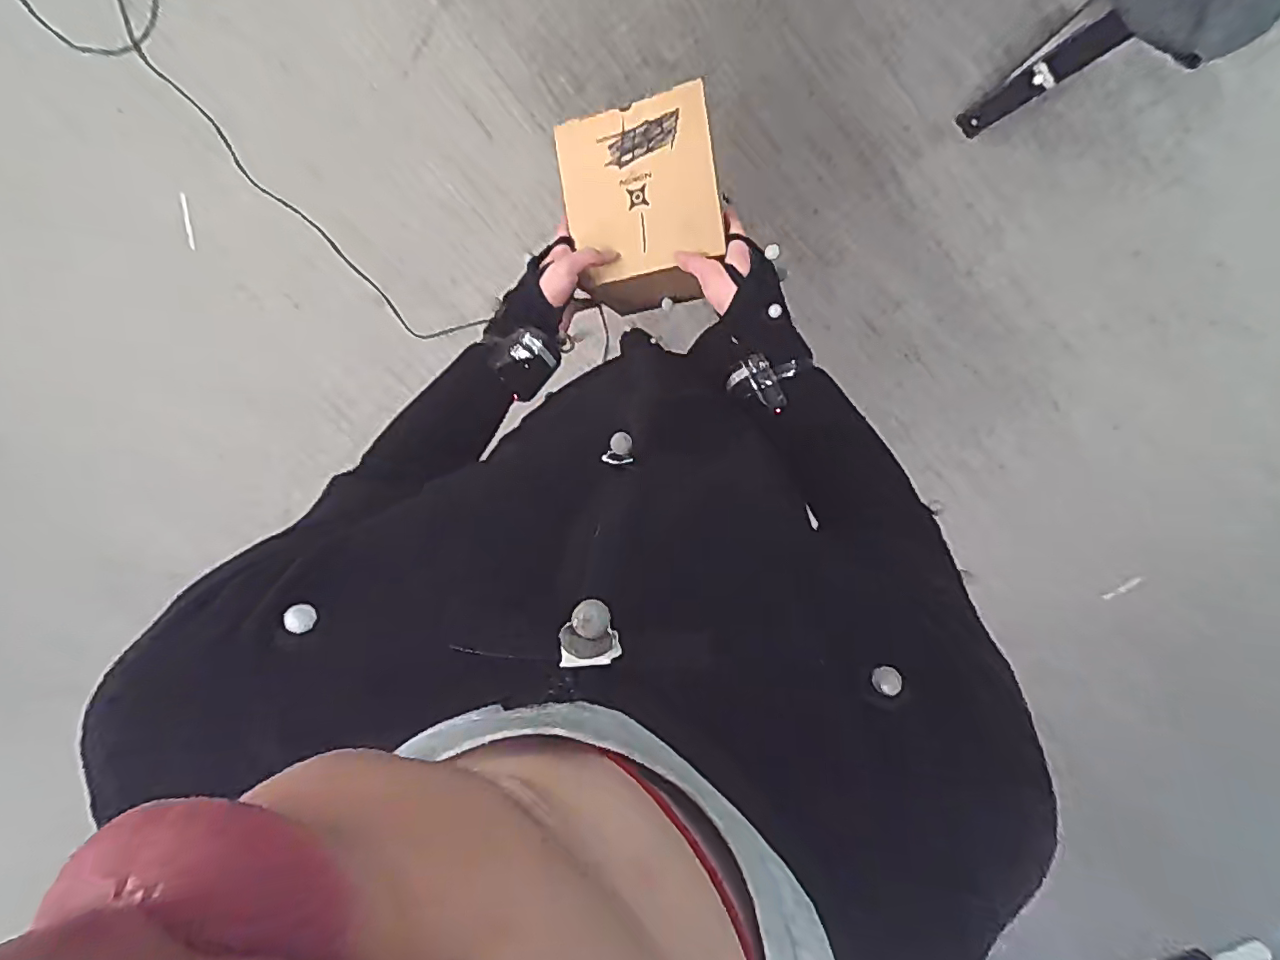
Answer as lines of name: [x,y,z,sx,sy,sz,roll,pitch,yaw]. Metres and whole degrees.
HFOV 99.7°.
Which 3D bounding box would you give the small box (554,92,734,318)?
small box: [0.015,-0.313,0.659,0.168,0.176,0.179,-8,94,17]
